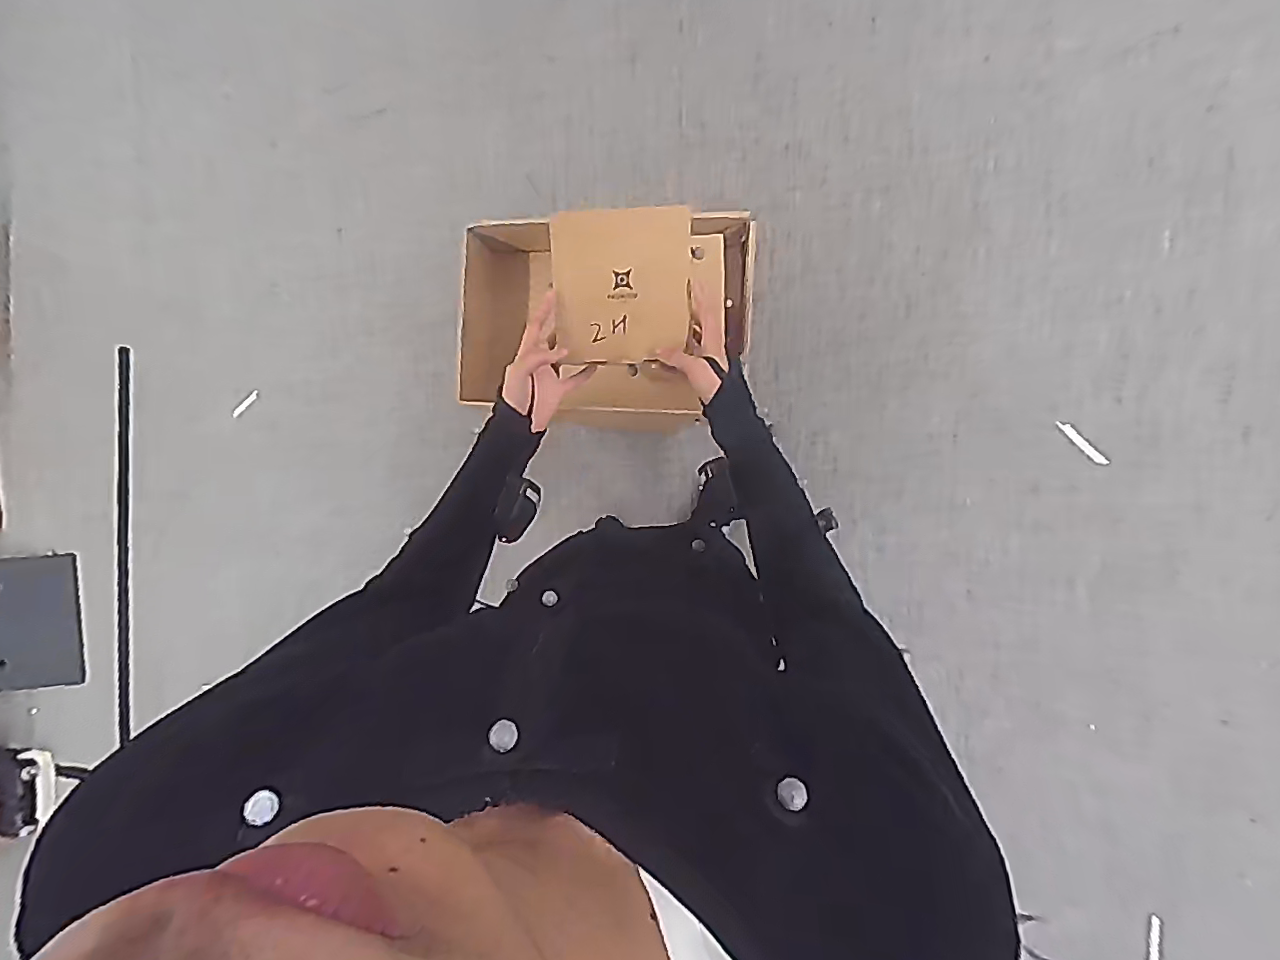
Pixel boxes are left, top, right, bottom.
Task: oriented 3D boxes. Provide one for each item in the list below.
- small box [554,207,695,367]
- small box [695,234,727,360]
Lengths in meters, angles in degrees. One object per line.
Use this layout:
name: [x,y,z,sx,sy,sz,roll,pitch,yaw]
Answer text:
small box: [-0.013,-0.242,0.716,0.168,0.176,0.179,-1,103,5]
small box: [0.071,-0.313,0.962,0.168,0.176,0.179,0,91,9]
